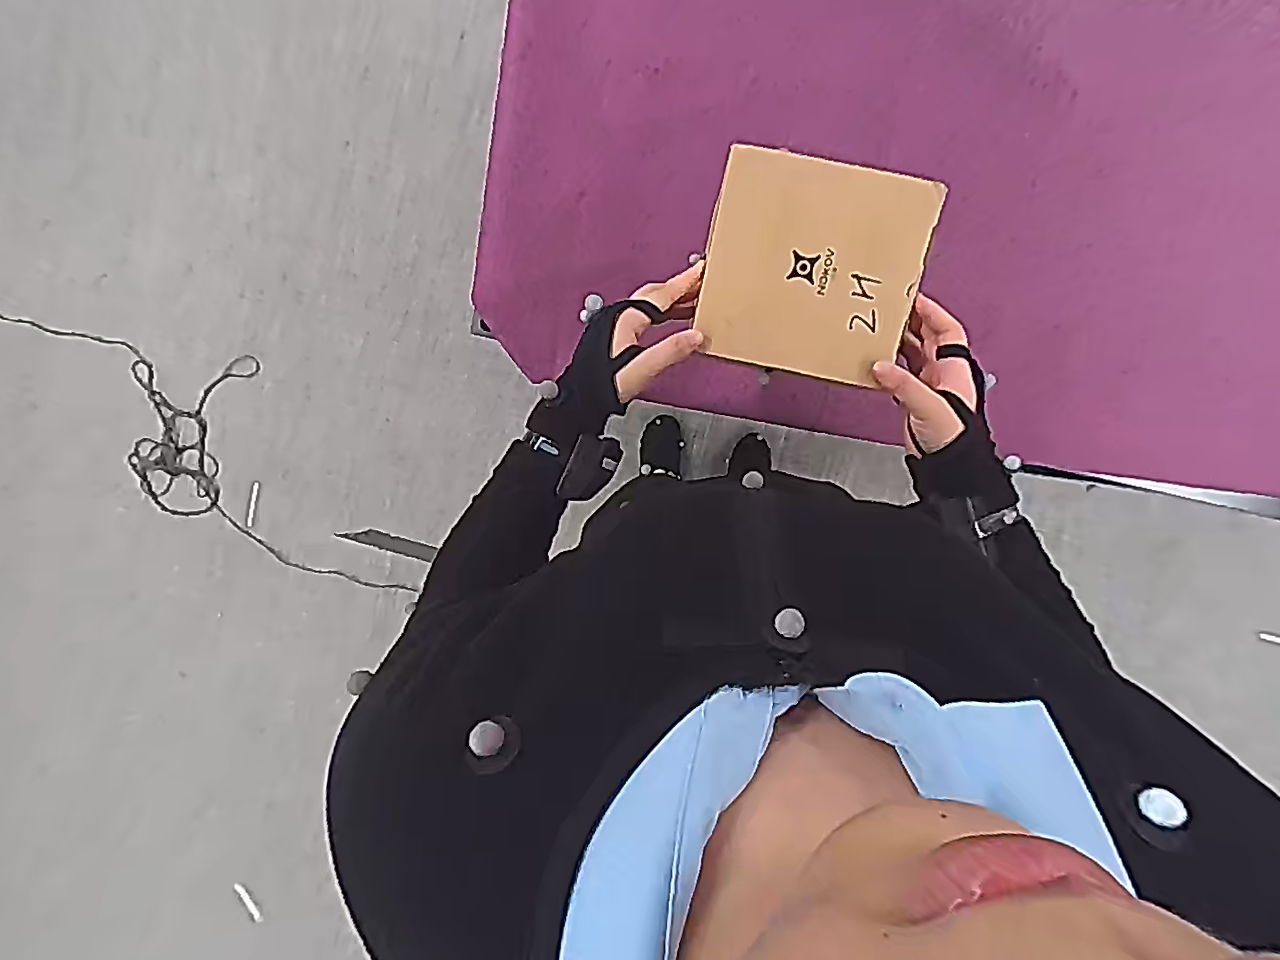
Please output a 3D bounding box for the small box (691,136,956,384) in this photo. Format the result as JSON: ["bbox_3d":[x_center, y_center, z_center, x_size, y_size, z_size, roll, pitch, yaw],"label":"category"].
[{"bbox_3d":[0.150,-0.190,0.515,0.179,0.176,0.168,12,103,1],"label":"small box"}]
